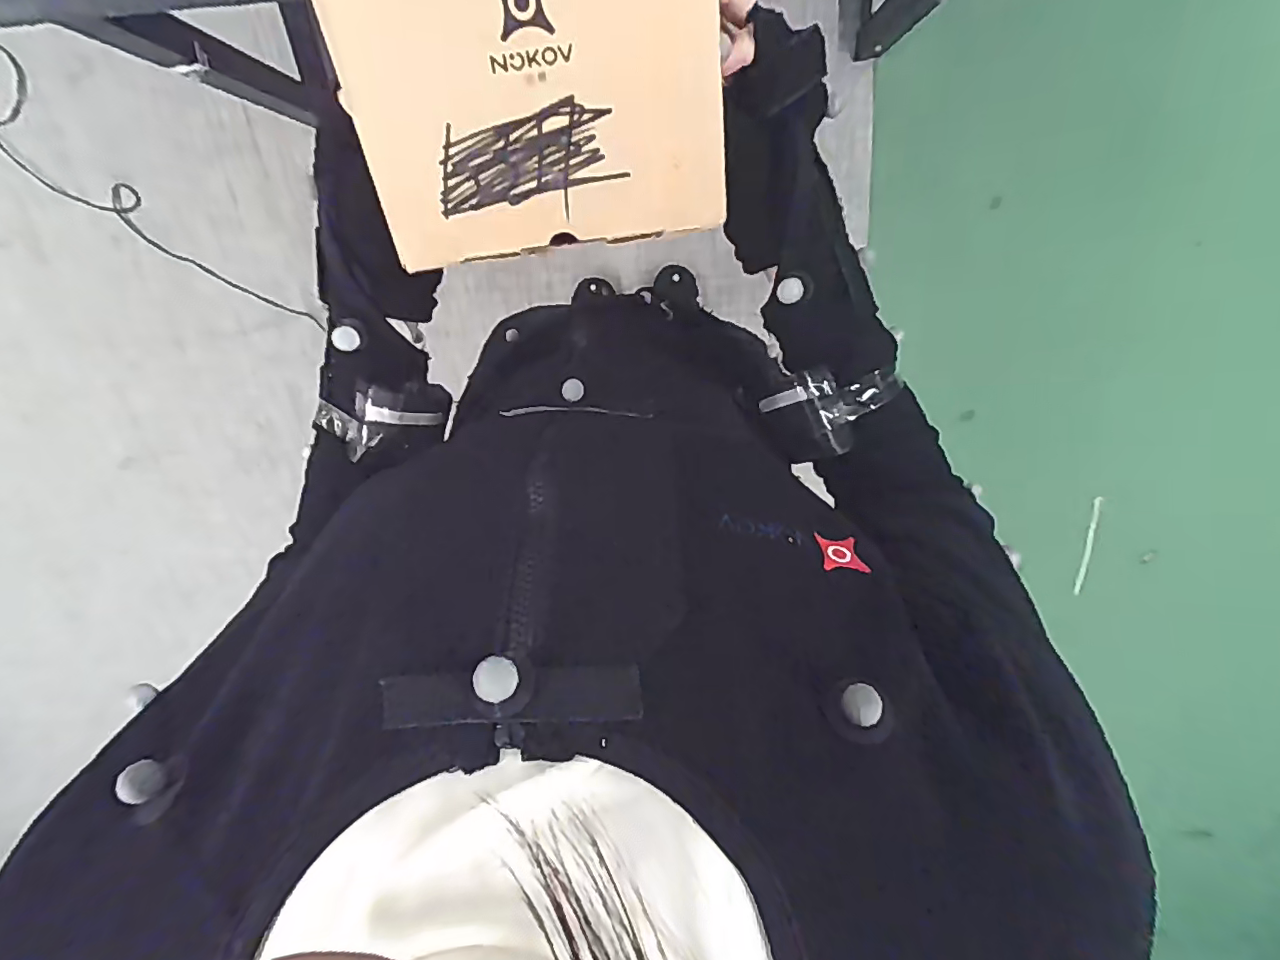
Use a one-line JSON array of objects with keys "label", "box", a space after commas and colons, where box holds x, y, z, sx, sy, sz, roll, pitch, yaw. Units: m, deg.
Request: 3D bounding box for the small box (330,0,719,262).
[{"label": "small box", "box": [-0.050, -0.237, 0.301, 0.168, 0.176, 0.179, -6, 123, 1]}]
